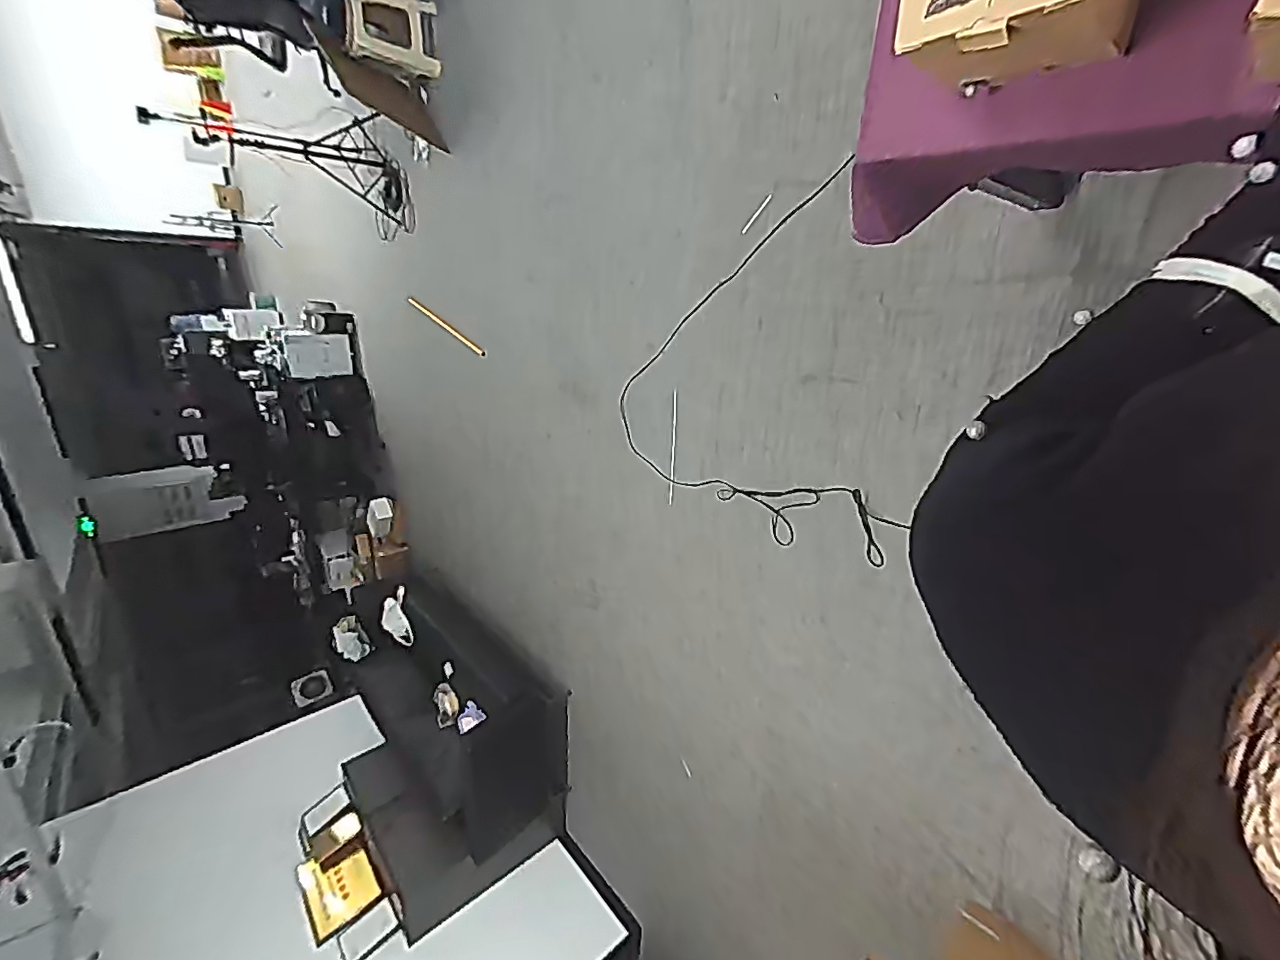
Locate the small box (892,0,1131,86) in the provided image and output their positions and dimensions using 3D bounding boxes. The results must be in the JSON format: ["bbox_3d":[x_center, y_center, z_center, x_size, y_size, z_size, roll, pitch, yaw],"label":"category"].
[{"bbox_3d":[0.381,-0.521,0.535,0.168,0.176,0.179,22,116,44],"label":"small box"}]
